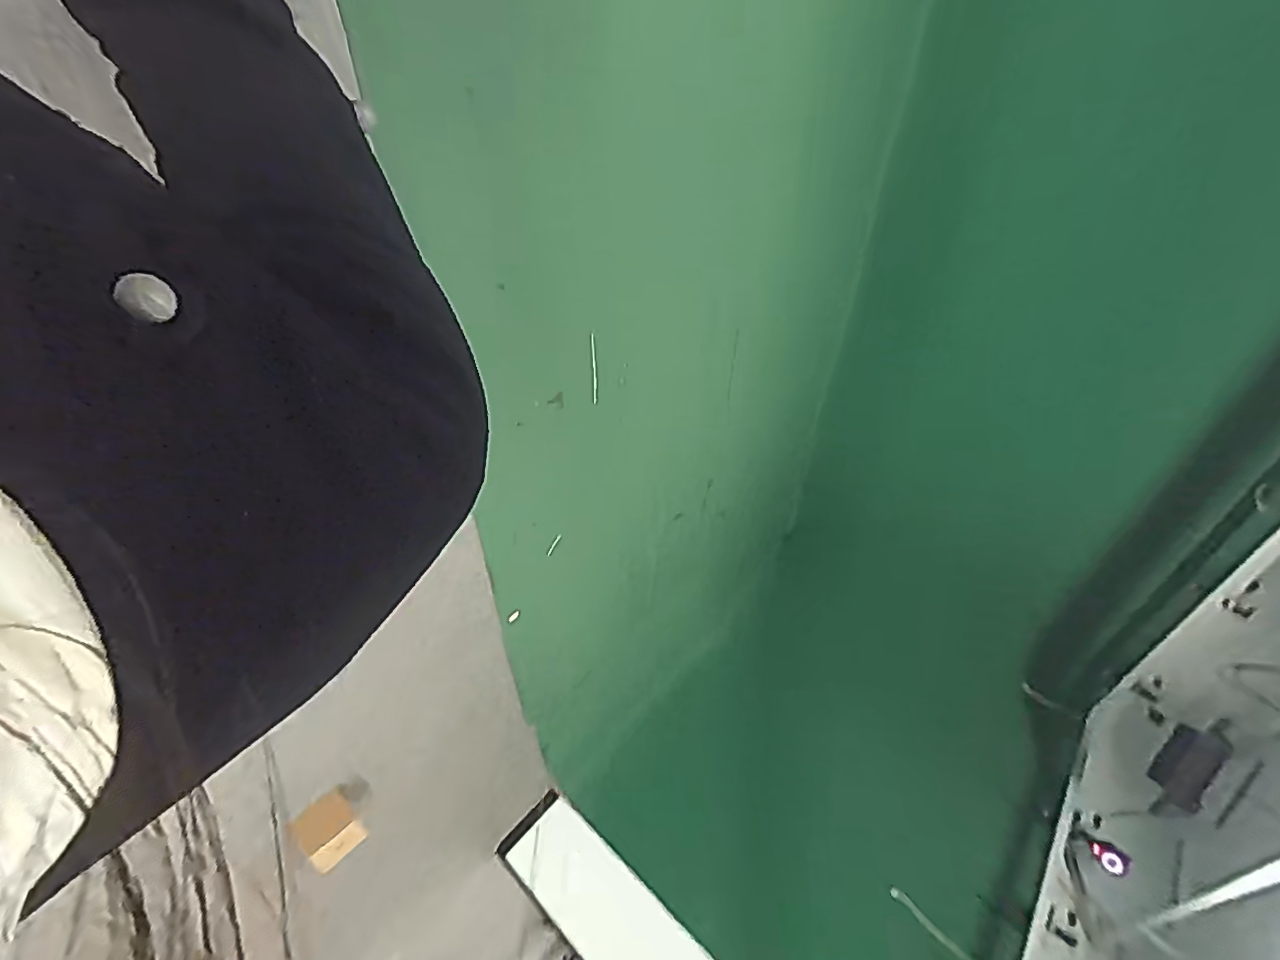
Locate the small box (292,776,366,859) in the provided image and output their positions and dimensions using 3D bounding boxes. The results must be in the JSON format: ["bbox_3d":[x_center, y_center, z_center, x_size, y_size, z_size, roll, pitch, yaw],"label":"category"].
[{"bbox_3d":[-1.185,1.277,2.049,0.179,0.176,0.168,-37,143,-36],"label":"small box"}]
